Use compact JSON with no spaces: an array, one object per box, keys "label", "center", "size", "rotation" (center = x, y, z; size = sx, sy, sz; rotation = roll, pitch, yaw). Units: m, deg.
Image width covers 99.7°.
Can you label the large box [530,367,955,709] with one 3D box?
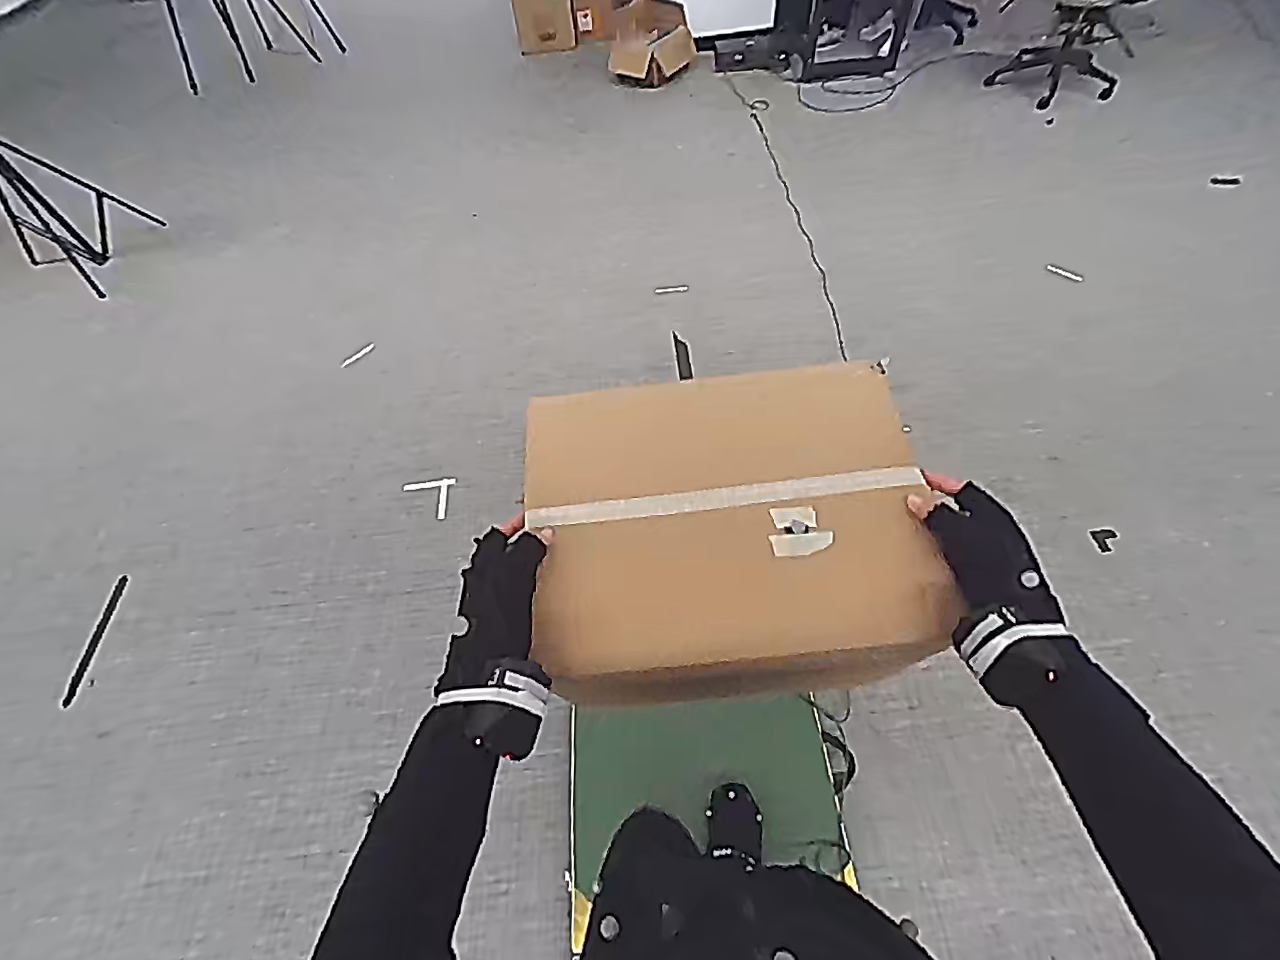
[{"label":"large box","center":[0.090,0.094,0.701],"size":[0.408,0.320,0.320],"rotation":[-7,62,0]}]
